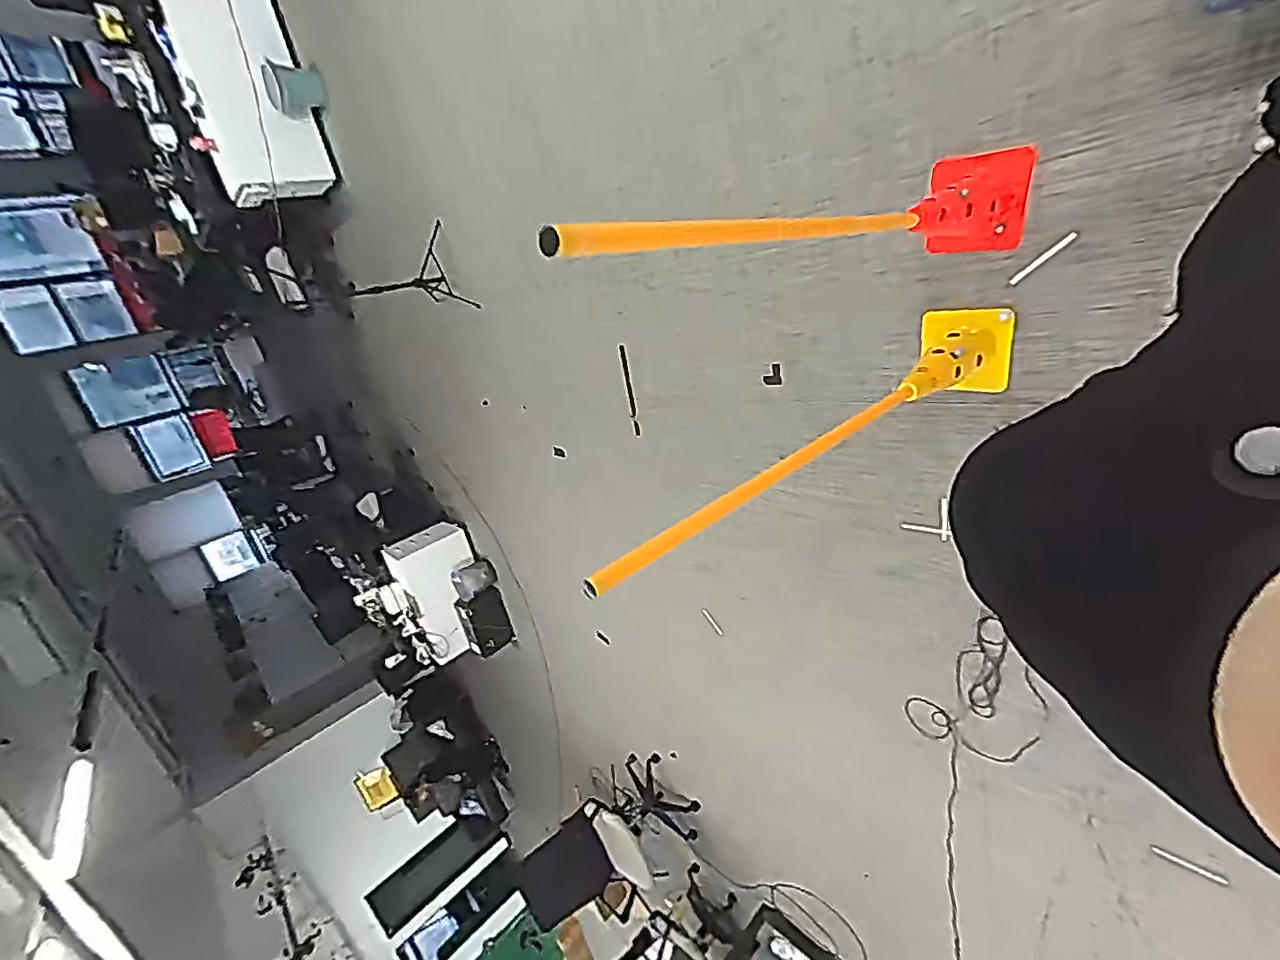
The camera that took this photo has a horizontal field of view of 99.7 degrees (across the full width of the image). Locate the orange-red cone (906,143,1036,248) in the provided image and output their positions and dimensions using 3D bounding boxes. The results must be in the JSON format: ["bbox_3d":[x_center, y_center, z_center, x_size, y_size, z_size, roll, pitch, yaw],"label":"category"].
[{"bbox_3d":[0.627,-0.558,1.095,0.198,0.360,0.199,19,125,42],"label":"orange-red cone"}]
